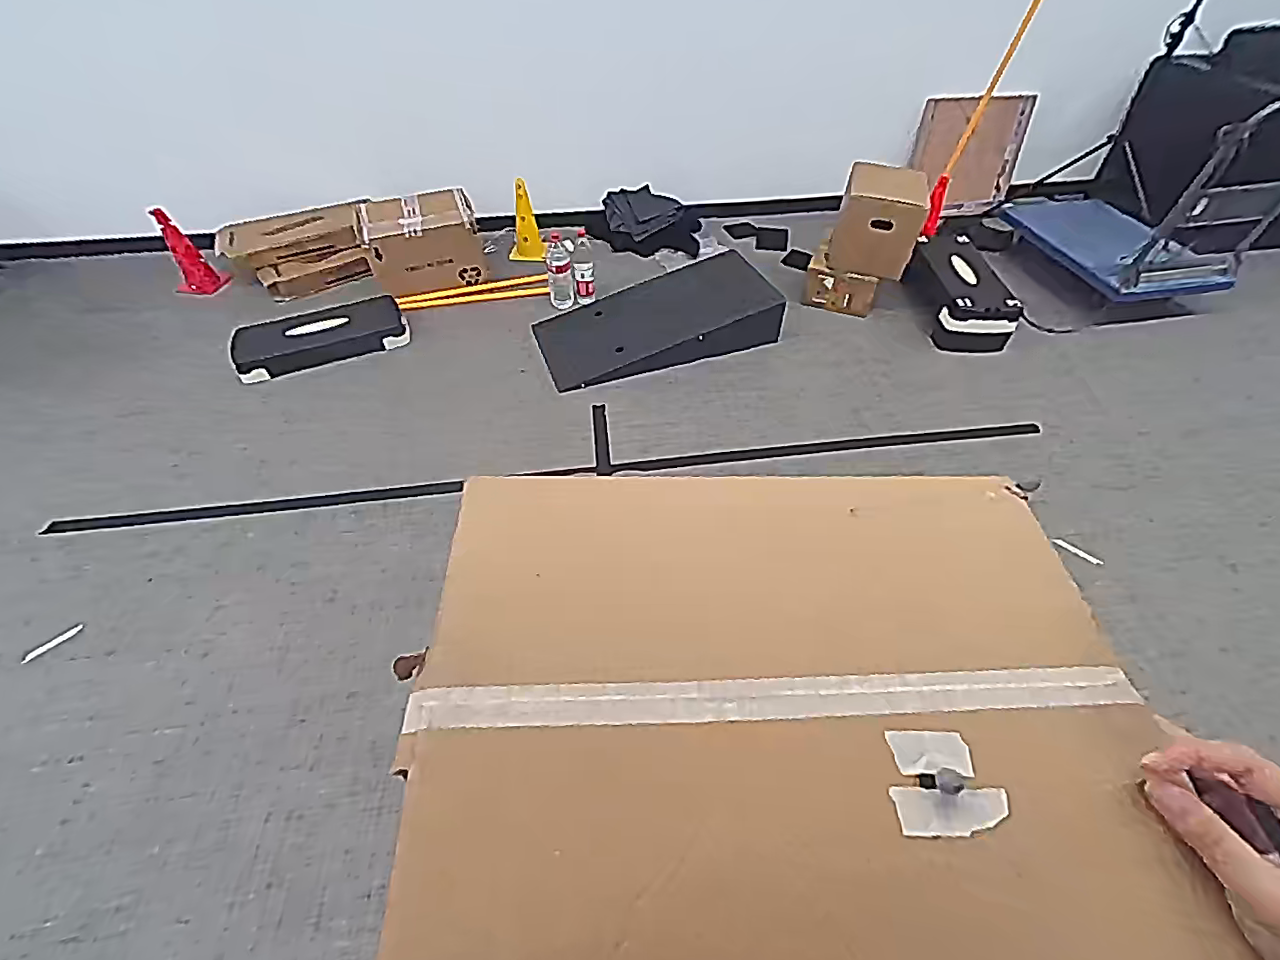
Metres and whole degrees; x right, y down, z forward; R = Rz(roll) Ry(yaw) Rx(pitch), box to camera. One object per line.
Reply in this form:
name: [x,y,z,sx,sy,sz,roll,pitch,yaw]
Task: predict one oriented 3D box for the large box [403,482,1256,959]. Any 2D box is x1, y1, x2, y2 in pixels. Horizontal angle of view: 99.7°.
large box: [0.075,0.214,0.435,0.408,0.320,0.320,1,53,-5]
